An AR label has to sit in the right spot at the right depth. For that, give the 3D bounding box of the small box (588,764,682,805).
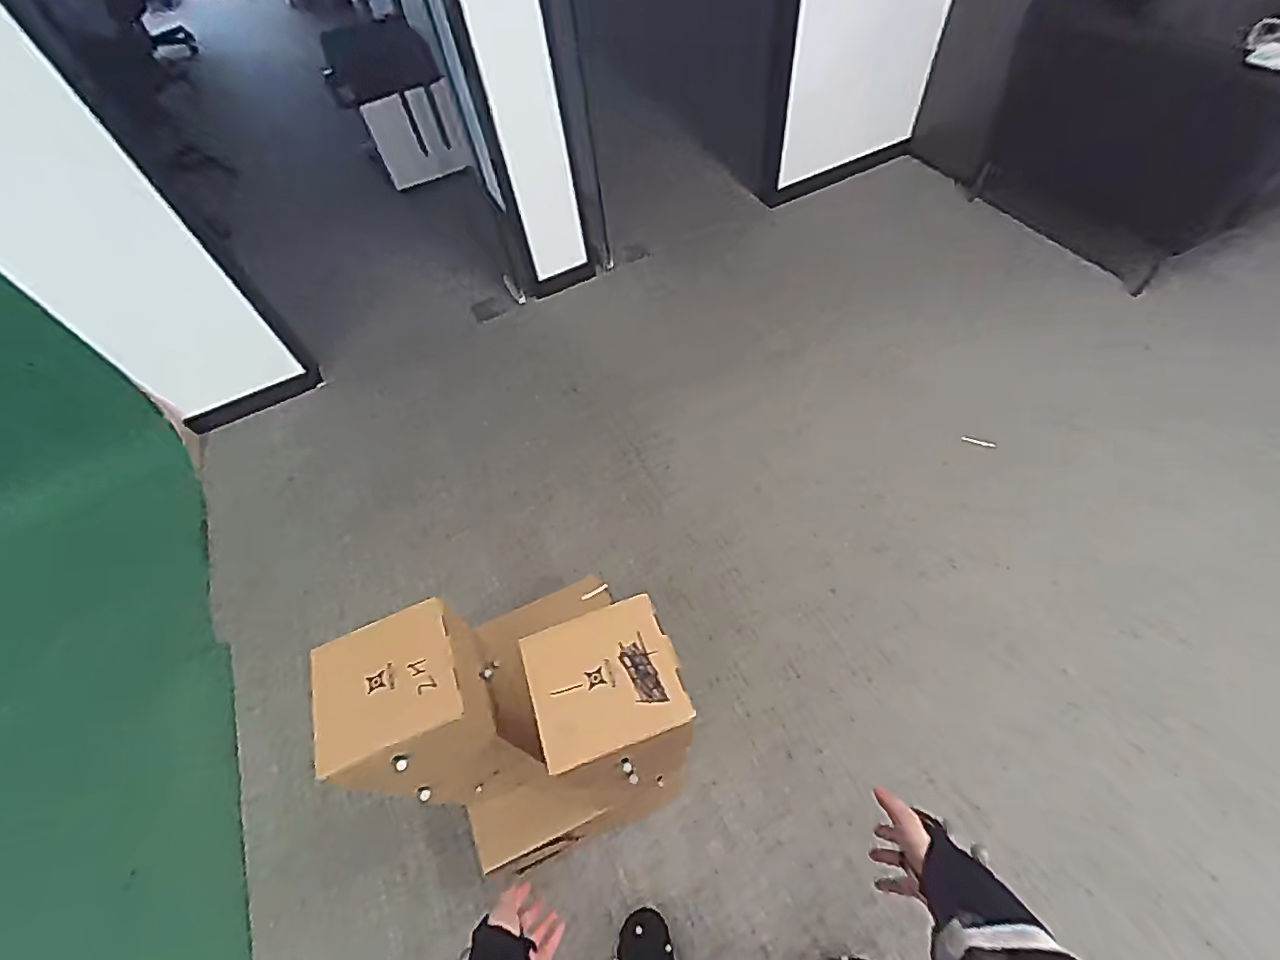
[{"bbox_3d":[-0.028,0.467,0.978,0.168,0.176,0.179,-19,54,-9],"label":"small box"}]

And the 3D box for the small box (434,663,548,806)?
[{"bbox_3d":[-0.275,0.474,1.003,0.168,0.176,0.179,-21,54,-7],"label":"small box"}]

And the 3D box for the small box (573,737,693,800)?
[{"bbox_3d":[-0.029,0.376,0.843,0.179,0.176,0.168,-19,55,-8],"label":"small box"}]

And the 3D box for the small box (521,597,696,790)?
[{"bbox_3d":[-0.037,0.283,0.708,0.179,0.176,0.168,-19,55,-7],"label":"small box"}]

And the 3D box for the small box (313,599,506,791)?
[{"bbox_3d":[-0.304,0.294,0.727,0.179,0.176,0.168,-22,55,-8],"label":"small box"}]
